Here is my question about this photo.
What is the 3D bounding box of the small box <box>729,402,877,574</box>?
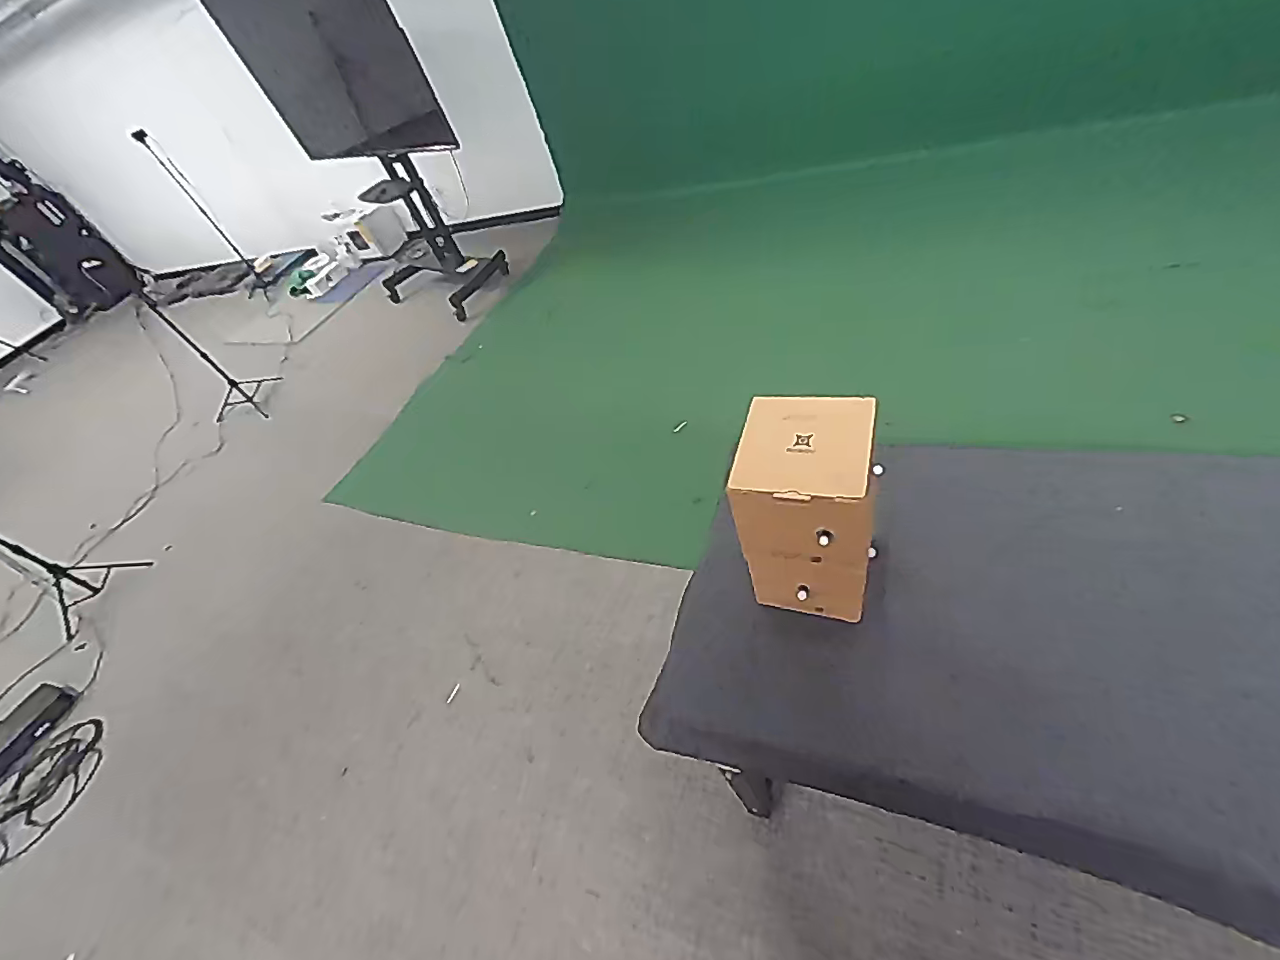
[{"bbox_3d":[0.234,0.010,0.756,0.168,0.176,0.179,5,50,24],"label":"small box"}]

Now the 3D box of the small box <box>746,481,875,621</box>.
[{"bbox_3d":[0.283,0.106,0.879,0.168,0.176,0.179,7,52,26],"label":"small box"}]
